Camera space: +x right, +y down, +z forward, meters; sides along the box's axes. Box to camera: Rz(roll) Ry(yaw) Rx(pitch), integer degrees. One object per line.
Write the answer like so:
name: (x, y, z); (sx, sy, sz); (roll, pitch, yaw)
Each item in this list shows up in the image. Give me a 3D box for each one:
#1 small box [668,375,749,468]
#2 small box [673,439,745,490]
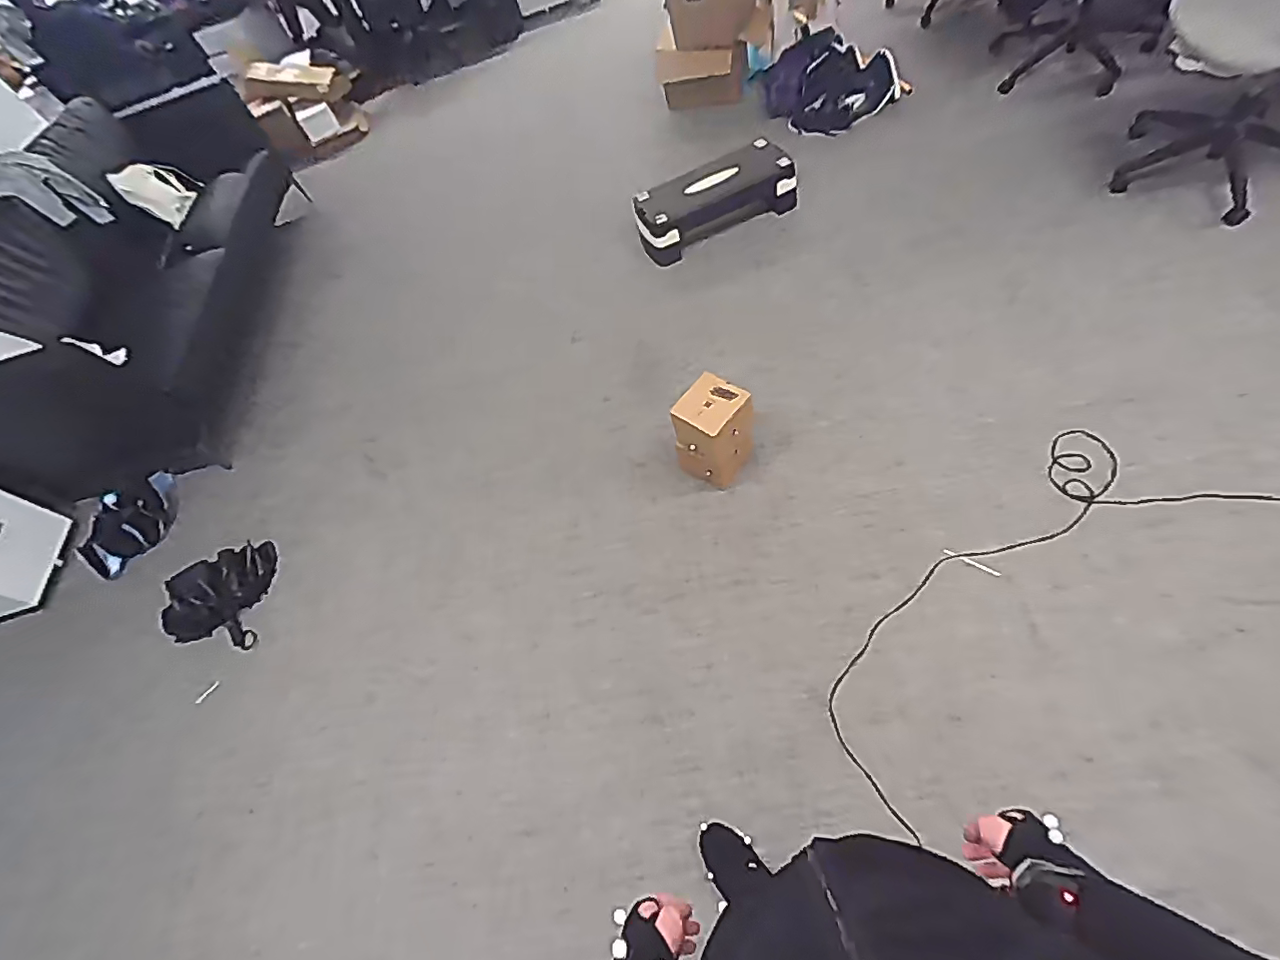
small box: (0.208, -0.170, 1.599); (0.168, 0.176, 0.179); (34, 74, 29)
small box: (0.230, -0.096, 1.745); (0.168, 0.176, 0.179); (26, 68, 26)
